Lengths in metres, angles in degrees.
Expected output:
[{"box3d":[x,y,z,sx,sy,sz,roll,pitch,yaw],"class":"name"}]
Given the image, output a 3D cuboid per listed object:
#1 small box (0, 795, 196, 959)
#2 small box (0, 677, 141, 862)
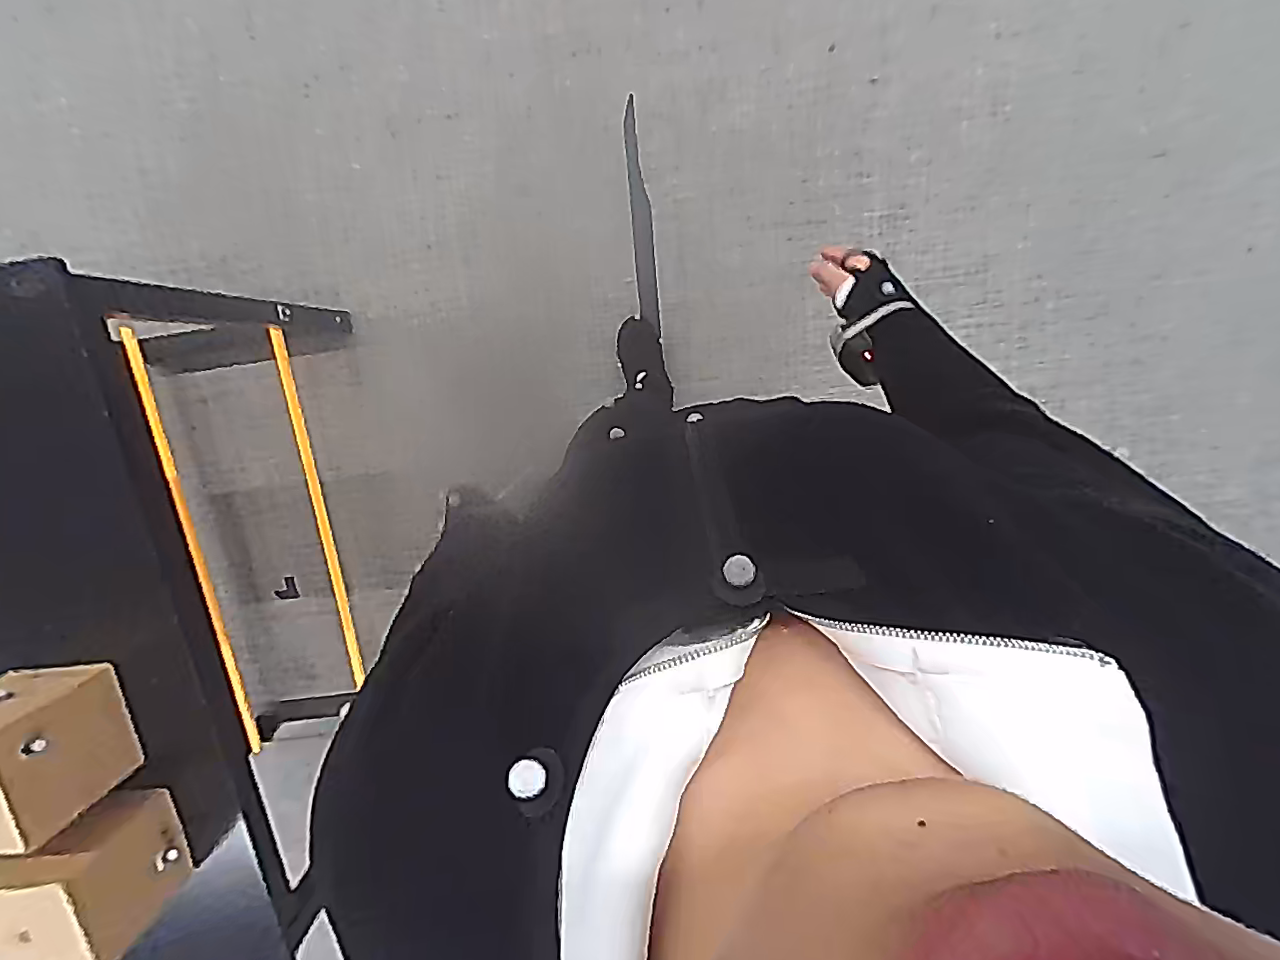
[{"box3d":[-0.829,0.604,0.805,0.179,0.176,0.168,-7,104,2],"class":"small box"},{"box3d":[-0.869,0.394,0.756,0.168,0.176,0.179,-5,103,3],"class":"small box"}]
